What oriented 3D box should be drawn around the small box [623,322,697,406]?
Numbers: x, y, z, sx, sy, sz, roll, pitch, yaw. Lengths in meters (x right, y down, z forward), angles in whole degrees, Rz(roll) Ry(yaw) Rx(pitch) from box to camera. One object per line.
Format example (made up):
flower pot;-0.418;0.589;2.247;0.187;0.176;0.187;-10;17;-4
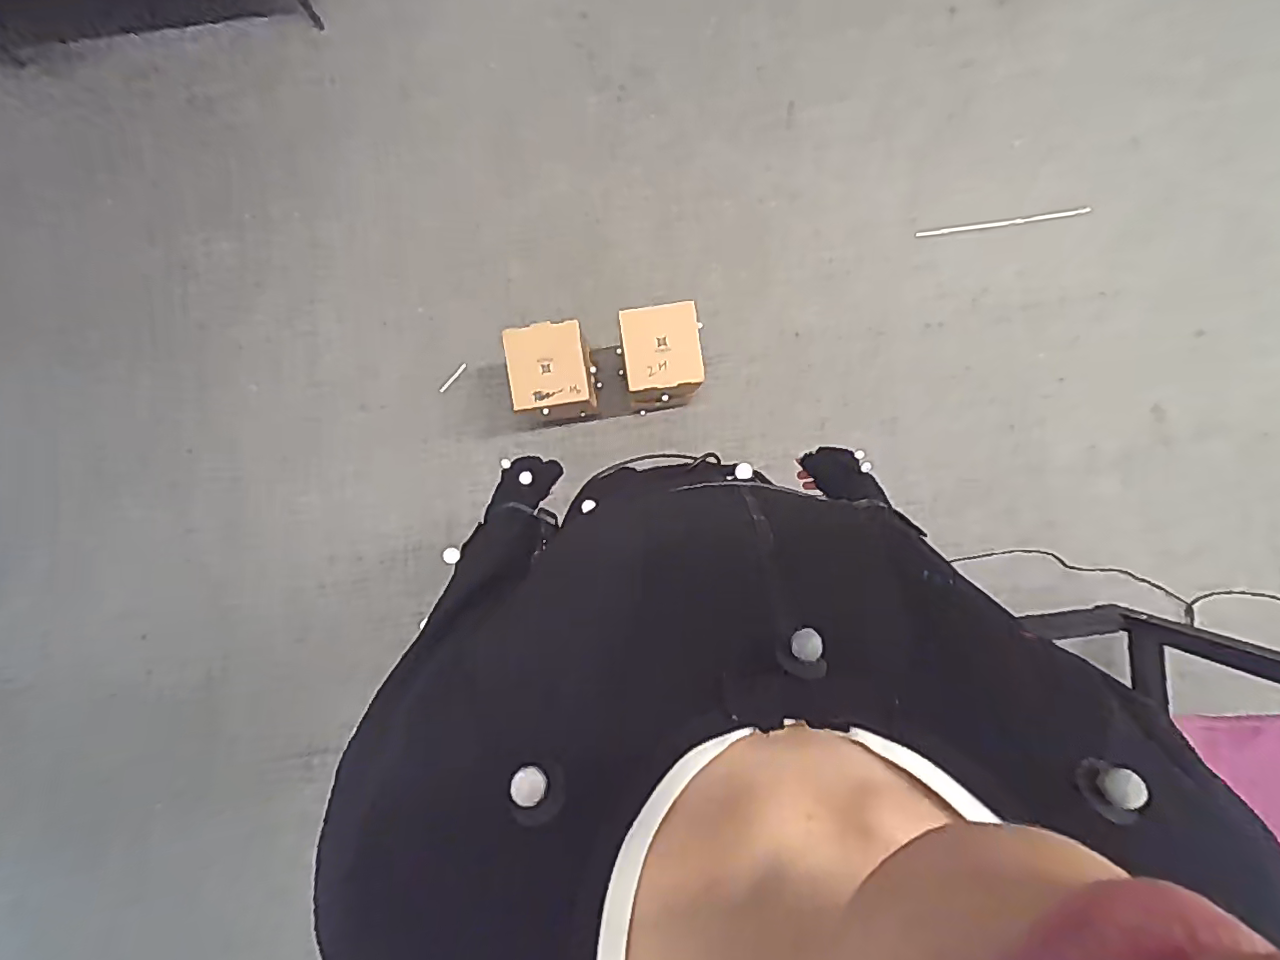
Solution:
small box;0.050;-0.289;1.391;0.168;0.176;0.179;-8;90;-1
